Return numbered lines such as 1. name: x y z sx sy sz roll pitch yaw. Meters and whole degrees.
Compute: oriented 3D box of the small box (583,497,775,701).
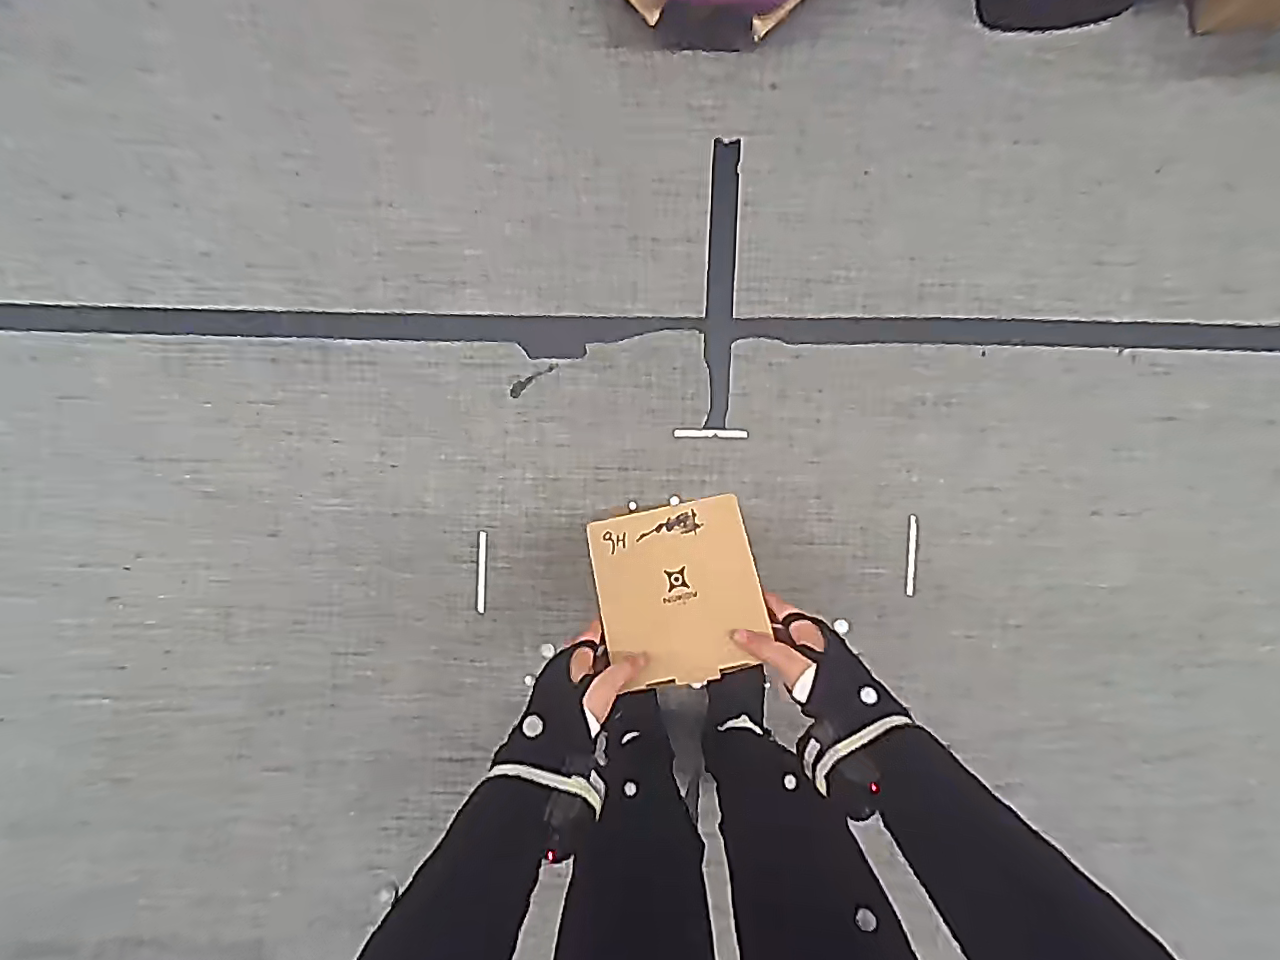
1. small box: 0.043 0.137 0.614 0.168 0.176 0.179 -13 72 1
